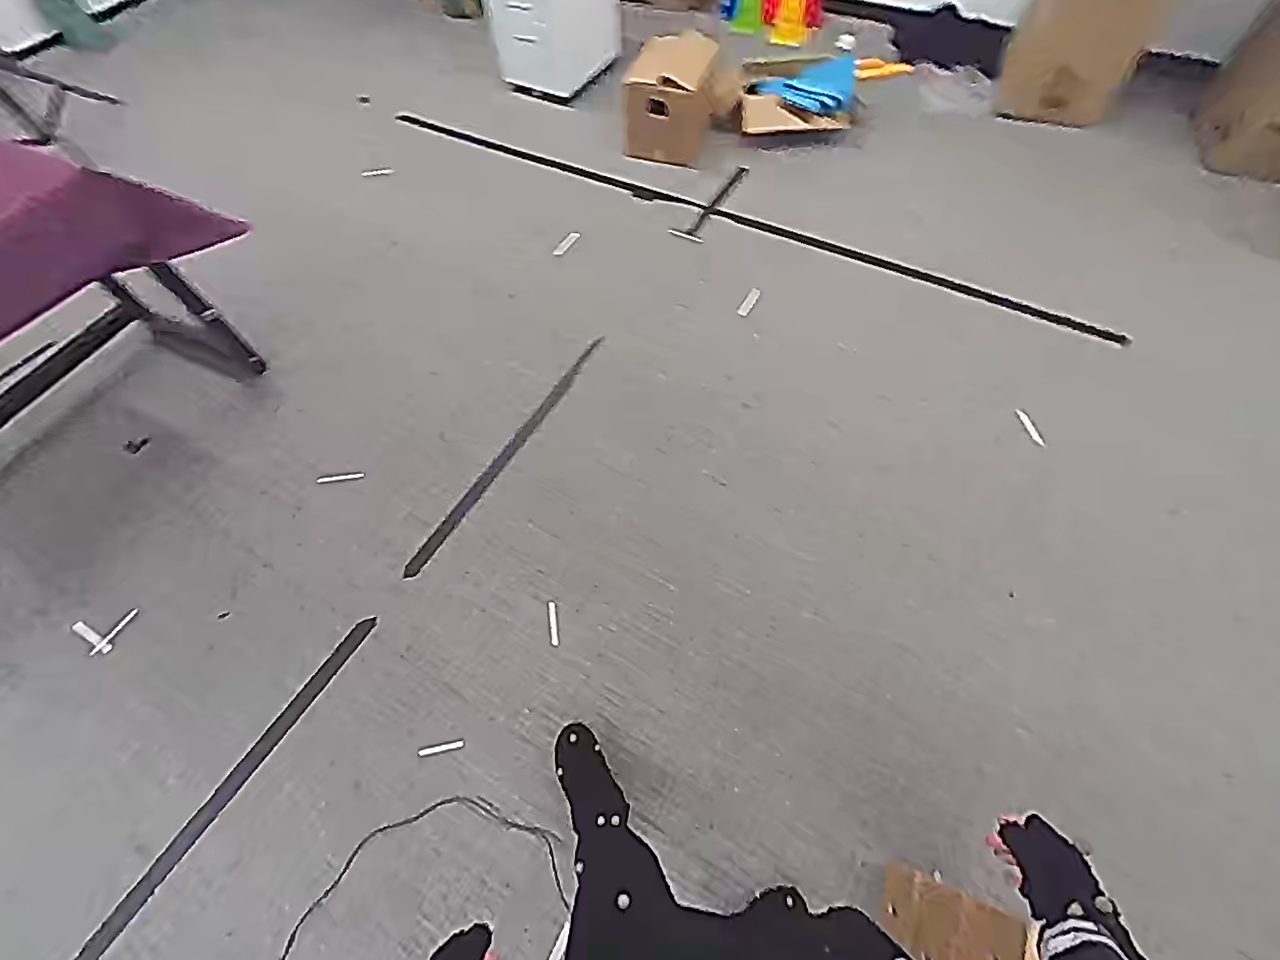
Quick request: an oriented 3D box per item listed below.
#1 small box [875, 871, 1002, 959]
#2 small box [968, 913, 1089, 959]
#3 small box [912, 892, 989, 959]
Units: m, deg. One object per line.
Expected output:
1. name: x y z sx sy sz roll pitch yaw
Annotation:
1. small box: 0.575 0.900 1.049 0.168 0.176 0.179 19 62 13
2. small box: 0.574 0.755 0.756 0.168 0.176 0.179 23 64 15
3. small box: 0.578 0.828 0.903 0.179 0.176 0.168 23 65 13
